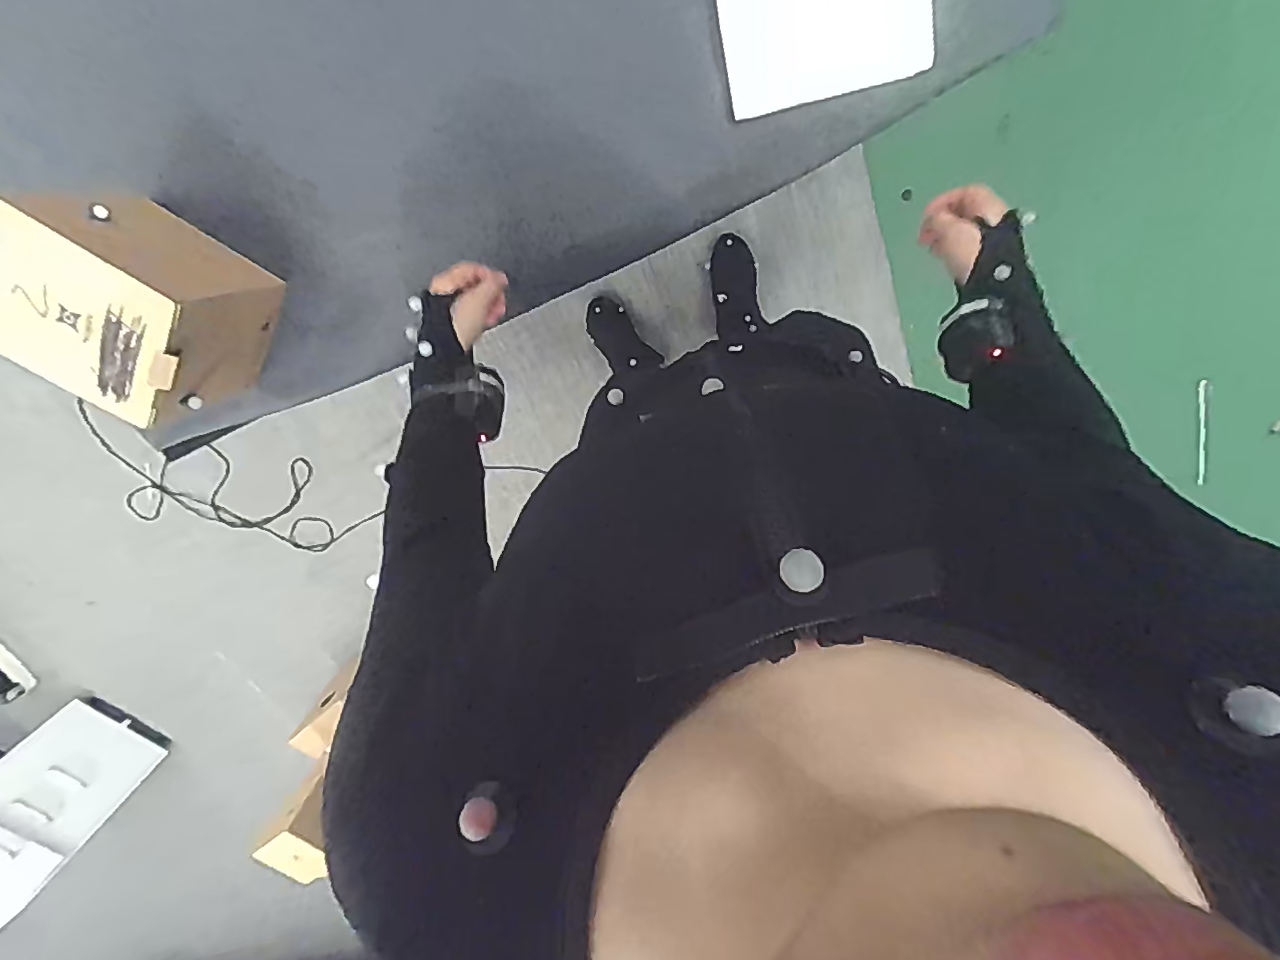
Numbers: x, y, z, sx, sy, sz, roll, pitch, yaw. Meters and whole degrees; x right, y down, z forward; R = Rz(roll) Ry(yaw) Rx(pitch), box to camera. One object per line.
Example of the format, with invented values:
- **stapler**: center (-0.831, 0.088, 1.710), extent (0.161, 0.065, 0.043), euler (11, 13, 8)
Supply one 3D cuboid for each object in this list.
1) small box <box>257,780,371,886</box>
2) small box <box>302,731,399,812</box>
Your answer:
- **small box**: center (-0.895, 0.969, 1.500), extent (0.168, 0.176, 0.179), euler (-38, 108, 18)
- **small box**: center (-0.879, 0.908, 1.651), extent (0.168, 0.176, 0.179), euler (-39, 108, 18)
